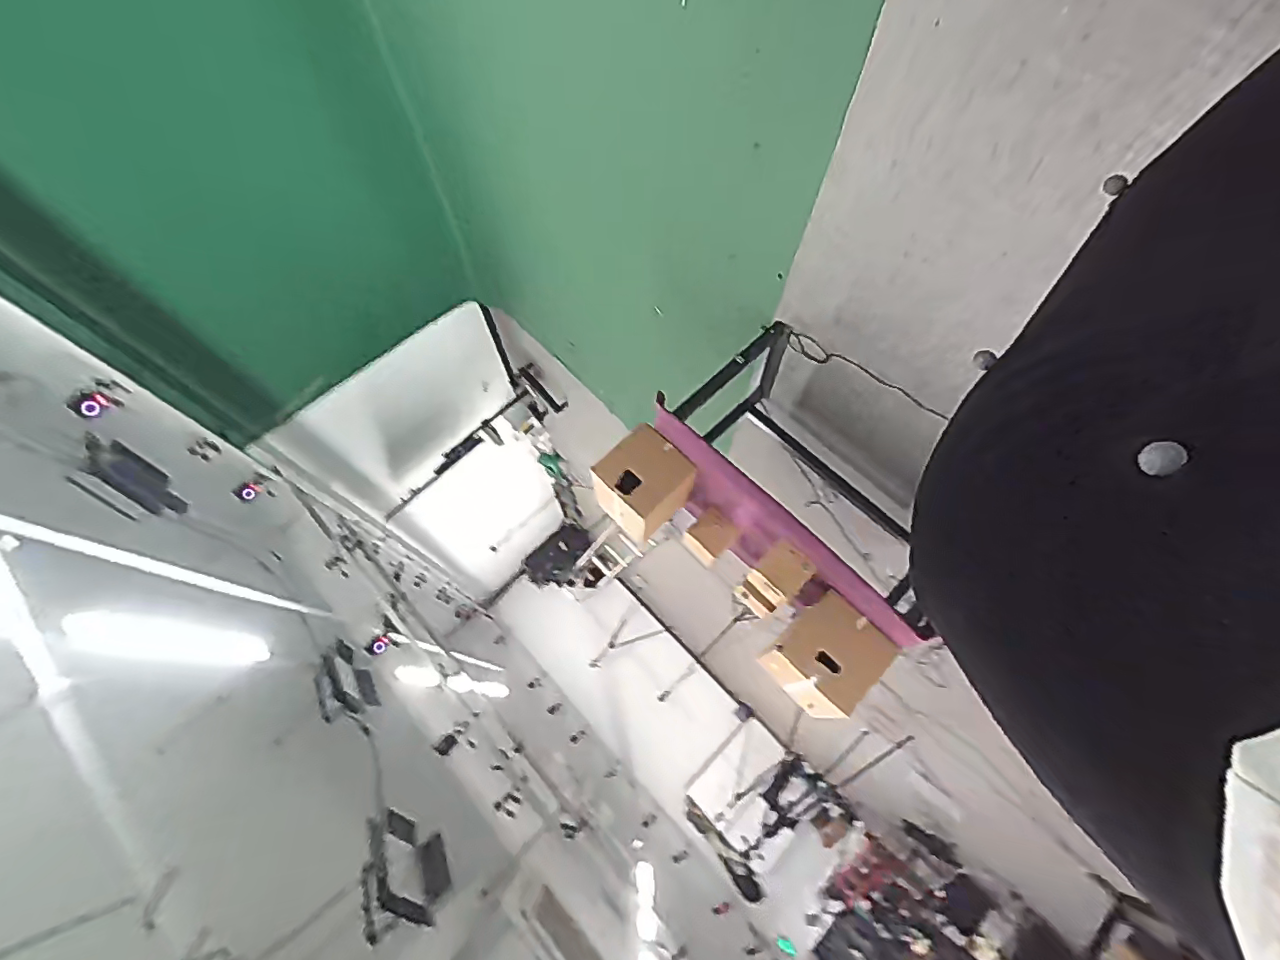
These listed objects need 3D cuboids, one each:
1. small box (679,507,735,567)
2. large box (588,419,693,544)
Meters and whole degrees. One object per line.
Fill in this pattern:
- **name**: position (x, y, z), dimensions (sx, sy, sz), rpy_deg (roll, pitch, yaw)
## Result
- **small box**: position (0.292, 0.247, 2.360), dimensions (0.168, 0.176, 0.179), rpy_deg (43, 163, 15)
- **large box**: position (0.003, 0.015, 2.331), dimensions (0.320, 0.320, 0.408), rpy_deg (42, 162, 15)
